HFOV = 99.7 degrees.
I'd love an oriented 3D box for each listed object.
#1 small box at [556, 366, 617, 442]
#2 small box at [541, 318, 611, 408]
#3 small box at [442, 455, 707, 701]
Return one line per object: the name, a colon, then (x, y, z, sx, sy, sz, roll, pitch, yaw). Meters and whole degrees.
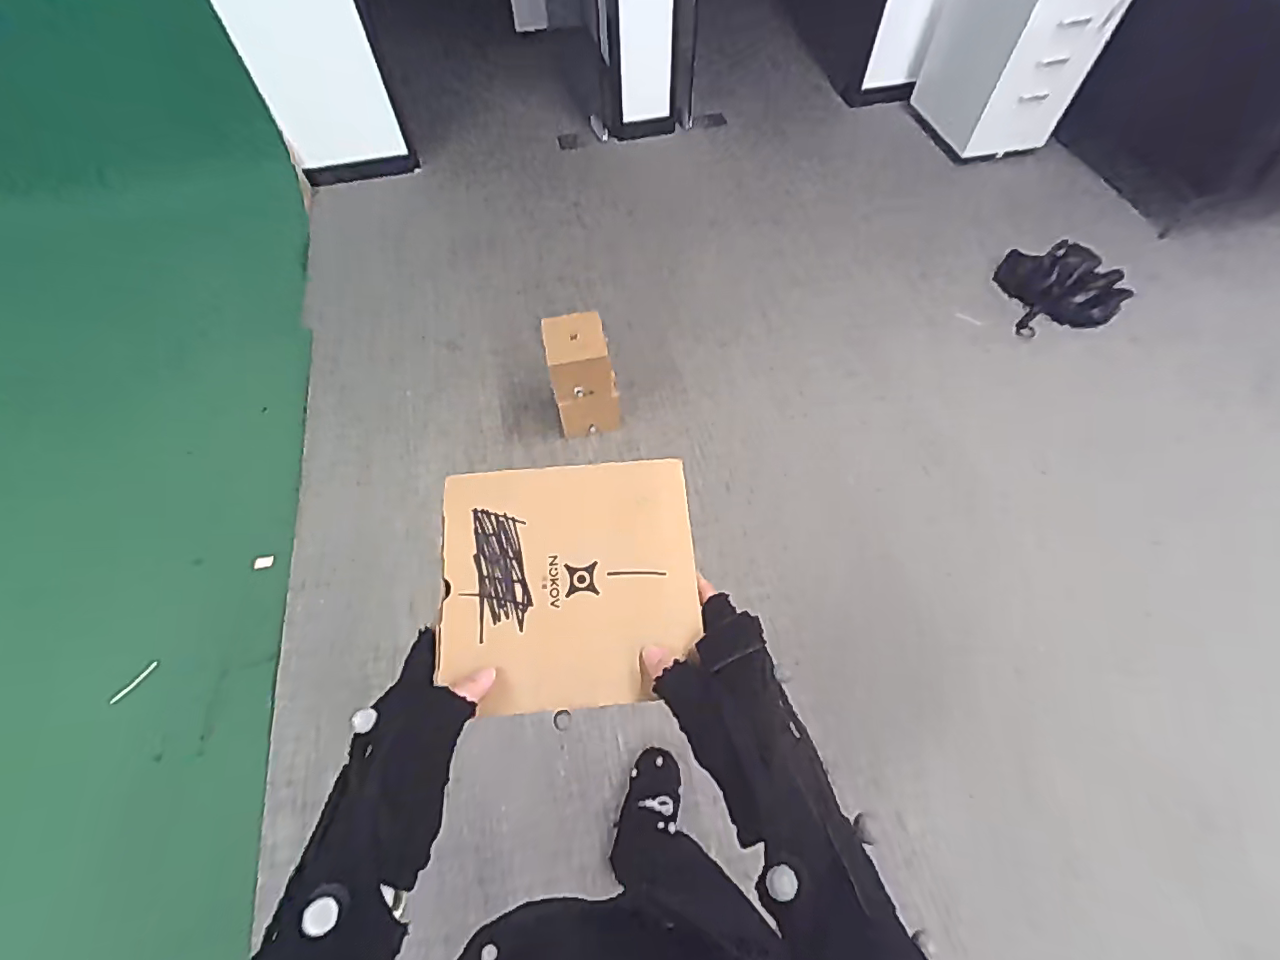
small box: (-0.170, -0.239, 1.680, 0.179, 0.176, 0.168, -10, 59, -6)
small box: (-0.181, -0.332, 1.546, 0.168, 0.176, 0.179, -12, 60, -4)
small box: (-0.049, 0.091, 0.452, 0.179, 0.176, 0.168, -4, 69, -4)
